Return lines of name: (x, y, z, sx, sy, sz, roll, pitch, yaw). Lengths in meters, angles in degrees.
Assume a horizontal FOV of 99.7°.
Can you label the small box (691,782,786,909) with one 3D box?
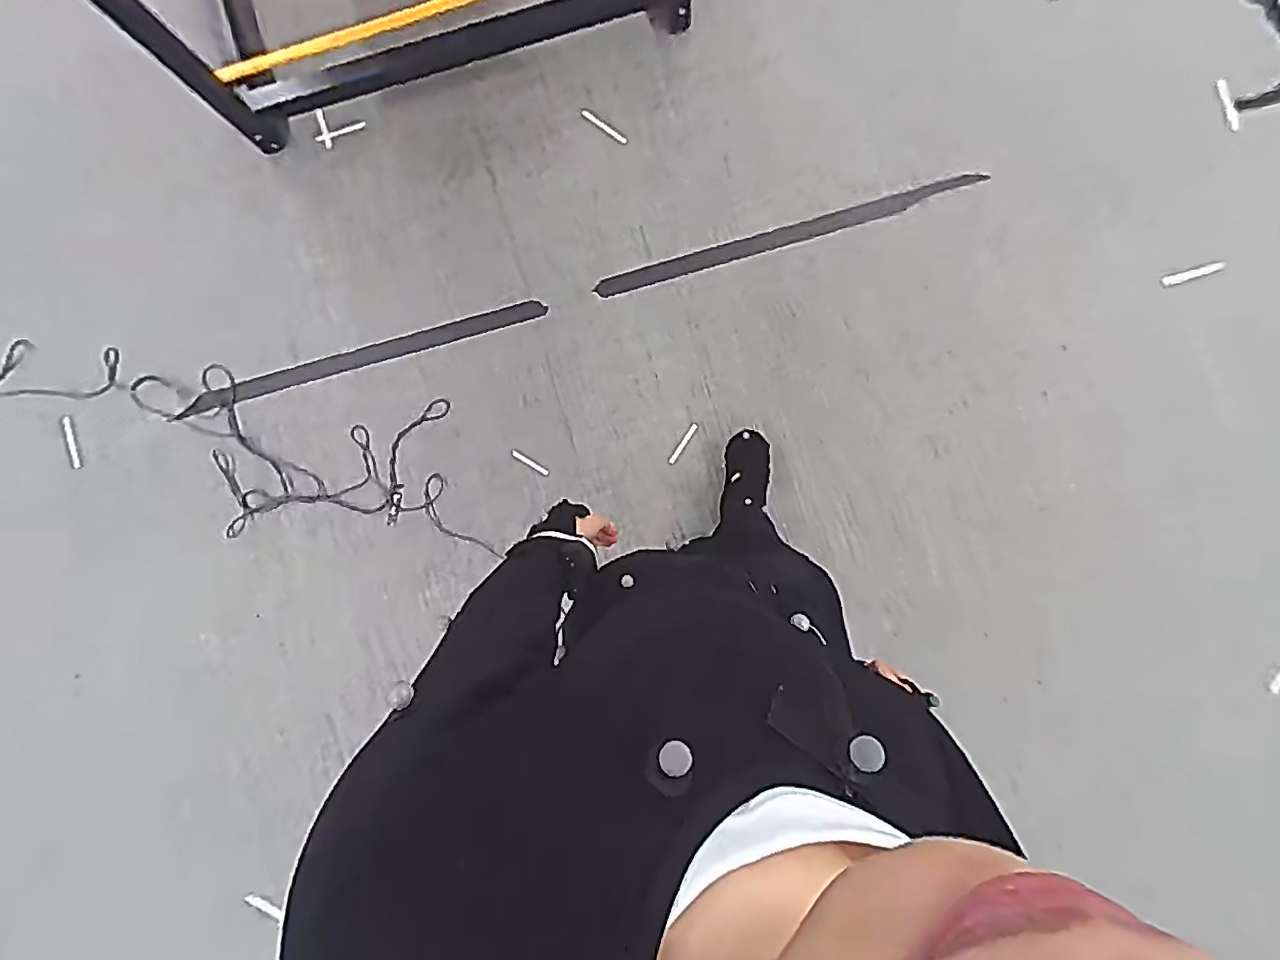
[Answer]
small box: (0.225, 0.864, 1.293, 0.179, 0.176, 0.168, -18, 88, 0)
